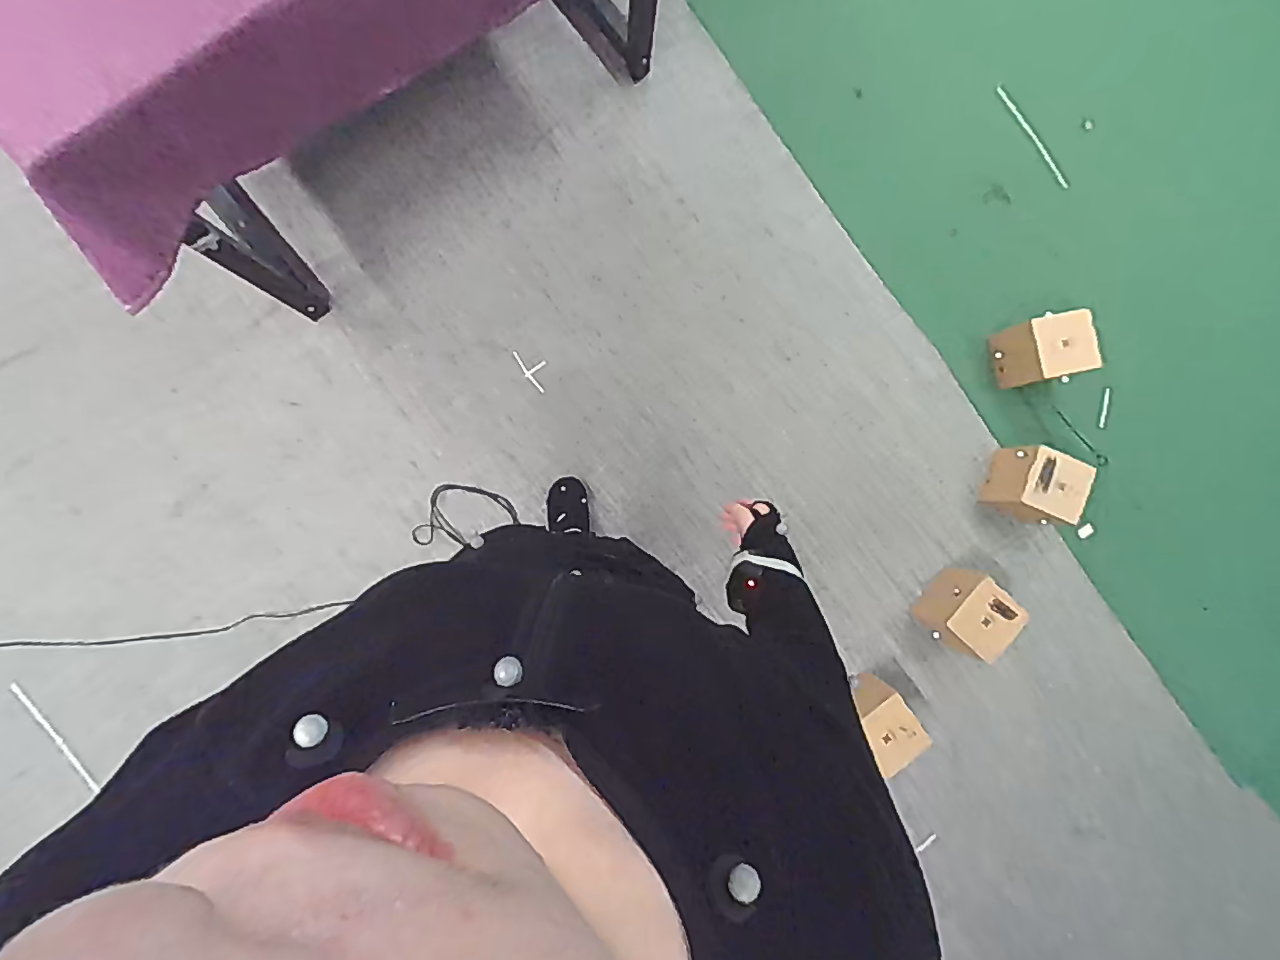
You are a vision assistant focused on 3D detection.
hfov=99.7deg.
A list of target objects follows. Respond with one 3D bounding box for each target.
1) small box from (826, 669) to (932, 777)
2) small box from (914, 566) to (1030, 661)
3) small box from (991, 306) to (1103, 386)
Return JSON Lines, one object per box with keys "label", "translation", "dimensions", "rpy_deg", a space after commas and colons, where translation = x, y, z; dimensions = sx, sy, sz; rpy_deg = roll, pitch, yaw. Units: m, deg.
{"label": "small box", "translation": [0.629, 0.646, 1.457], "dimensions": [0.179, 0.176, 0.168], "rpy_deg": [-35, 92, -4]}
{"label": "small box", "translation": [0.900, 0.356, 1.483], "dimensions": [0.168, 0.176, 0.179], "rpy_deg": [43, 87, -2]}
{"label": "small box", "translation": [1.138, -0.372, 1.521], "dimensions": [0.179, 0.176, 0.168], "rpy_deg": [-11, 89, -4]}
